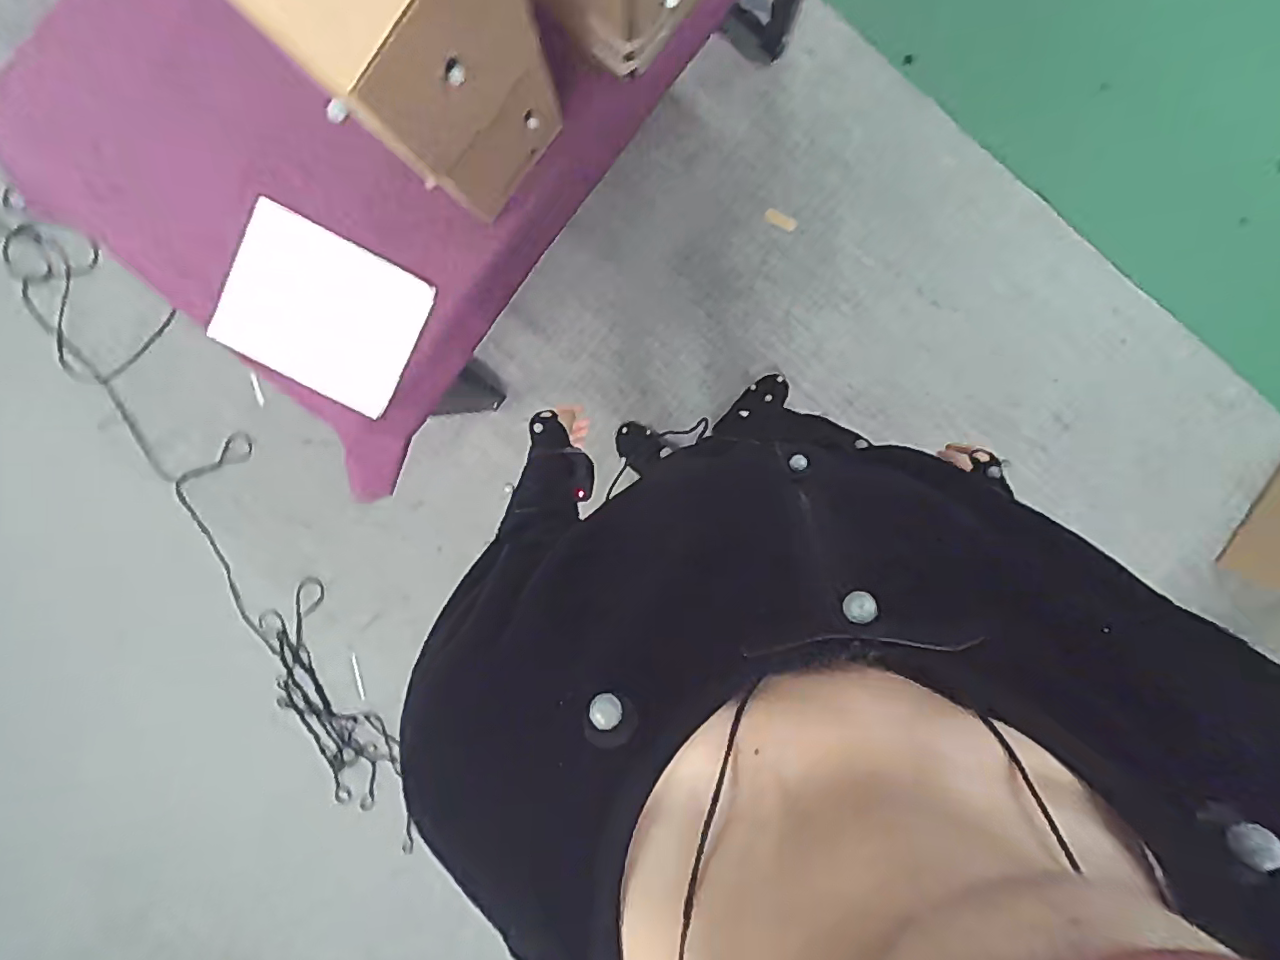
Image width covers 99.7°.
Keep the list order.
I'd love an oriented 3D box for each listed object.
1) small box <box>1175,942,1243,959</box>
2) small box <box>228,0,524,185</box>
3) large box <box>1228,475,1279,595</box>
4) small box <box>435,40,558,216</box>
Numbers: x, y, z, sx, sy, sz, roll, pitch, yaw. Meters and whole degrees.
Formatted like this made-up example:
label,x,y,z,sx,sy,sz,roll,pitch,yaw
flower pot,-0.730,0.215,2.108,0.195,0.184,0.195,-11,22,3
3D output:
label,x,y,z,sx,sy,sz,roll,pitch,yaw
small box,1.378,1.227,1.237,0.168,0.176,0.179,-32,97,6
small box,-0.221,-0.409,0.473,0.168,0.176,0.179,40,97,-3
large box,1.815,0.147,1.316,0.320,0.320,0.408,24,97,-2
small box,-0.219,-0.443,0.634,0.179,0.176,0.168,40,97,-2
